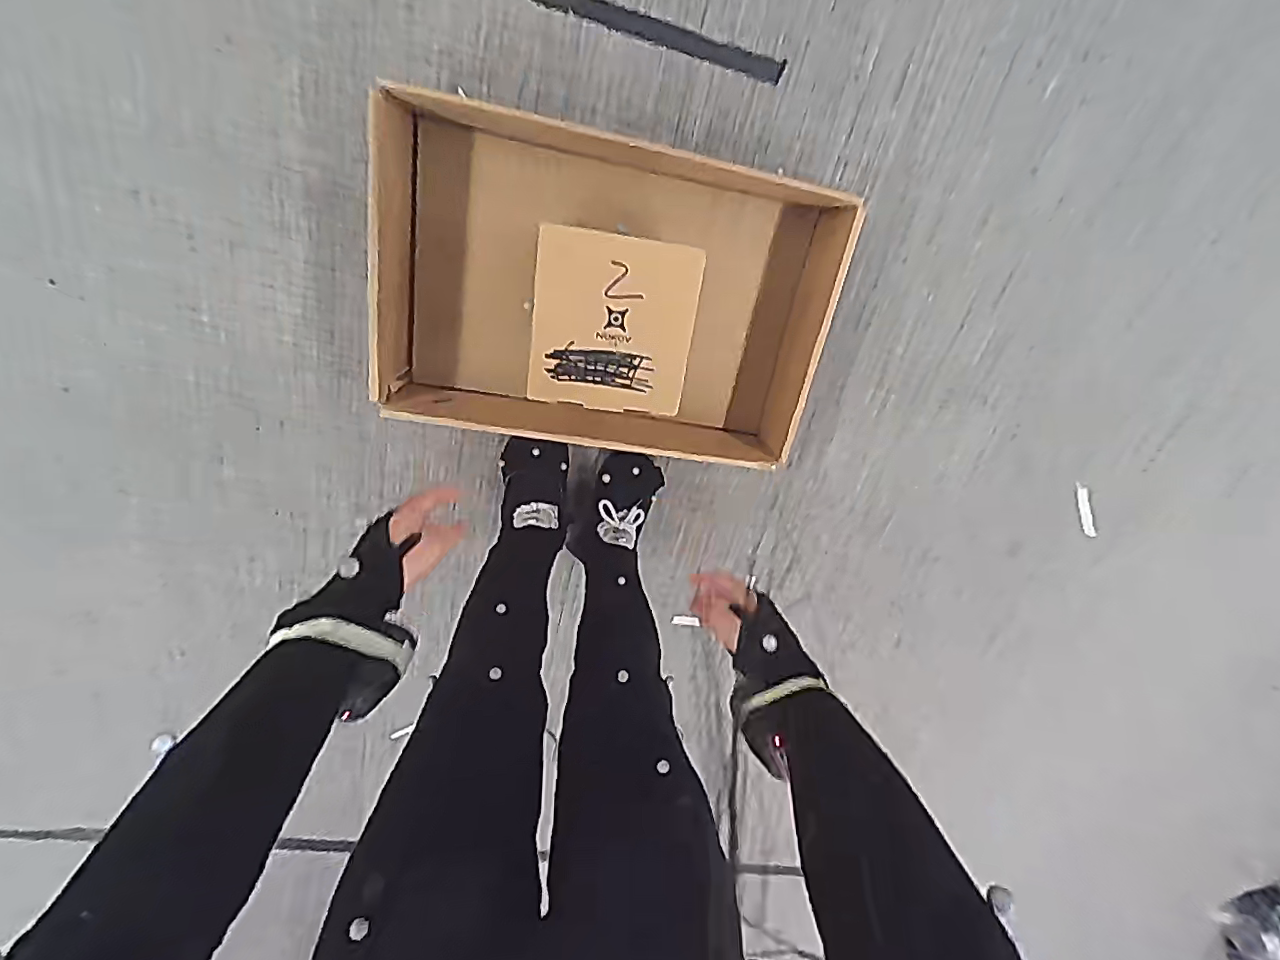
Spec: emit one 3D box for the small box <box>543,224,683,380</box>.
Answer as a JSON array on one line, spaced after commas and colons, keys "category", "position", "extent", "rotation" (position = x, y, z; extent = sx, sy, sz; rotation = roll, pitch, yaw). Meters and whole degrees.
[{"category": "small box", "position": [-0.046, -0.259, 0.778], "extent": [0.168, 0.176, 0.179], "rotation": [6, 114, -9]}]
